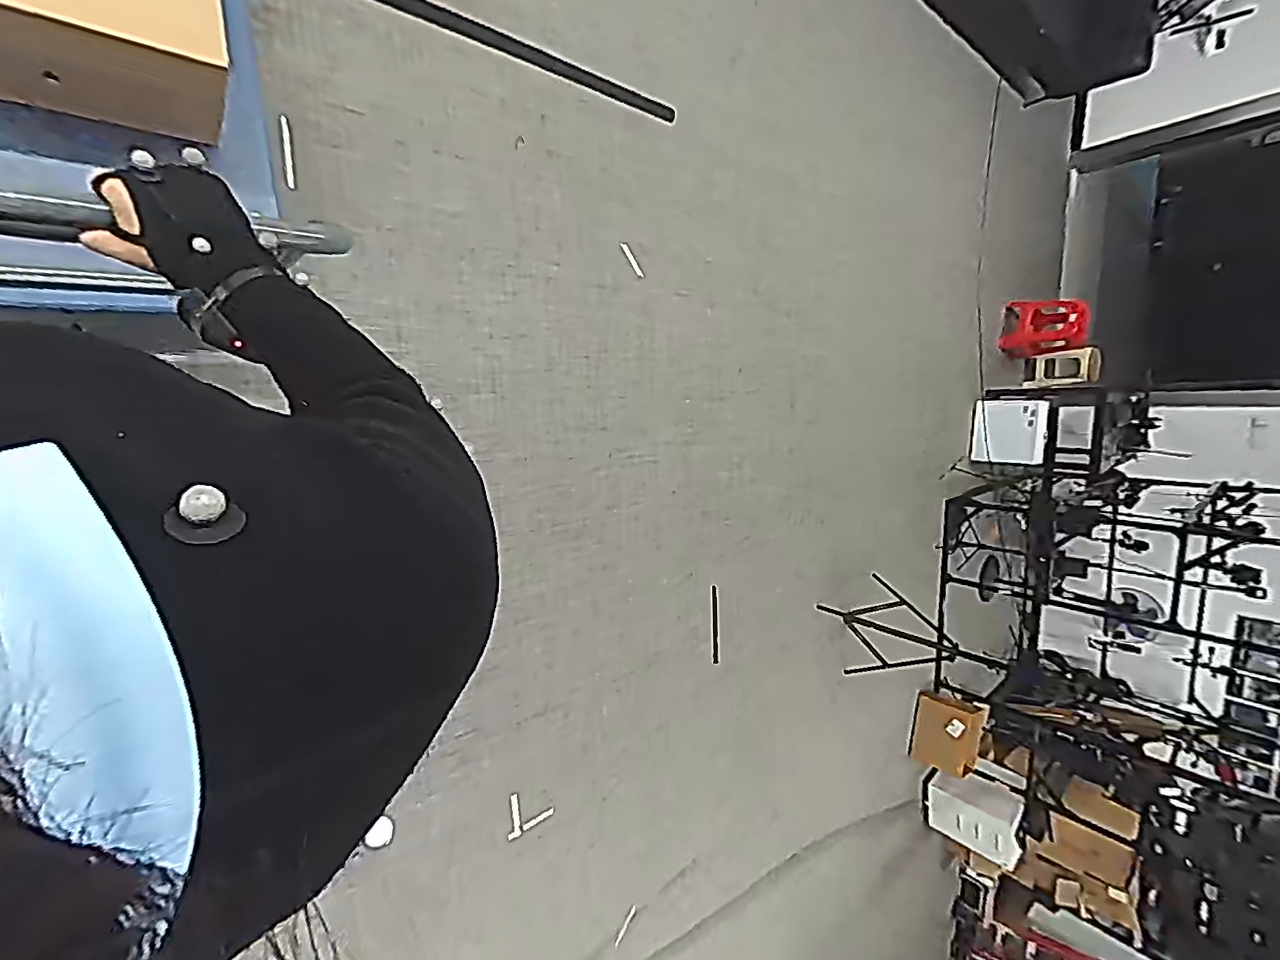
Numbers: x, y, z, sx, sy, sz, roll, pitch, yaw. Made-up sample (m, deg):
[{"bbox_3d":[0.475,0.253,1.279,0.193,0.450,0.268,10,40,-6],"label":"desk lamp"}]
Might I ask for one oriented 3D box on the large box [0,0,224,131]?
[{"bbox_3d":[-0.862,-0.752,0.755,0.408,0.320,0.320,-10,102,-39],"label":"large box"}]
